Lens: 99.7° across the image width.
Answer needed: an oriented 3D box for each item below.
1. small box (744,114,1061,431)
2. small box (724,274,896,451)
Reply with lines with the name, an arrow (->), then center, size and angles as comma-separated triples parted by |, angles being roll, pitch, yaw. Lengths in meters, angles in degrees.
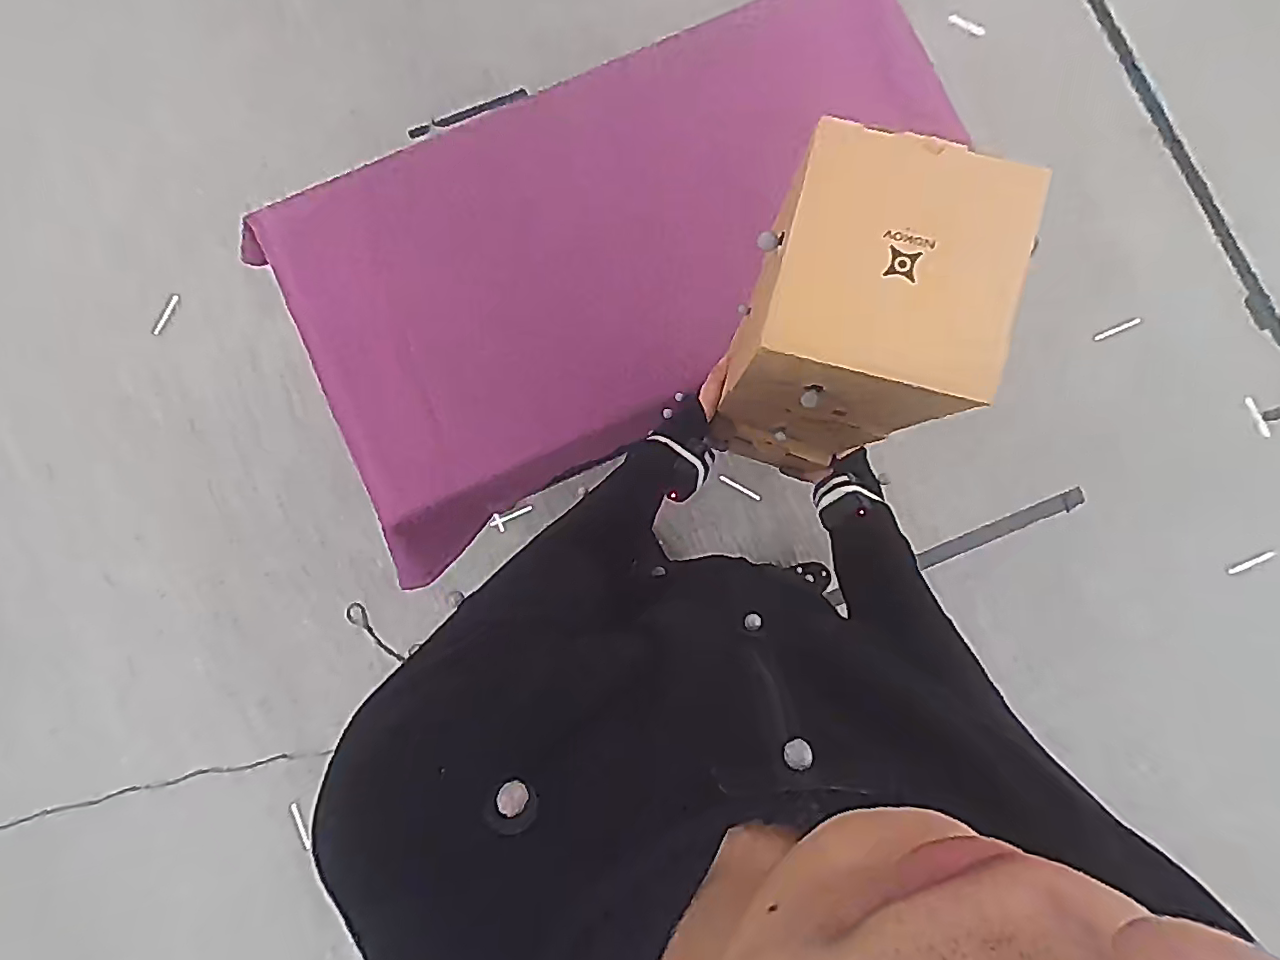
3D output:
small box -> 0.192, -0.149, 0.452 | 0.168, 0.176, 0.179 | 15, 87, 3
small box -> 0.201, -0.144, 0.614 | 0.168, 0.176, 0.179 | 18, 89, 3
